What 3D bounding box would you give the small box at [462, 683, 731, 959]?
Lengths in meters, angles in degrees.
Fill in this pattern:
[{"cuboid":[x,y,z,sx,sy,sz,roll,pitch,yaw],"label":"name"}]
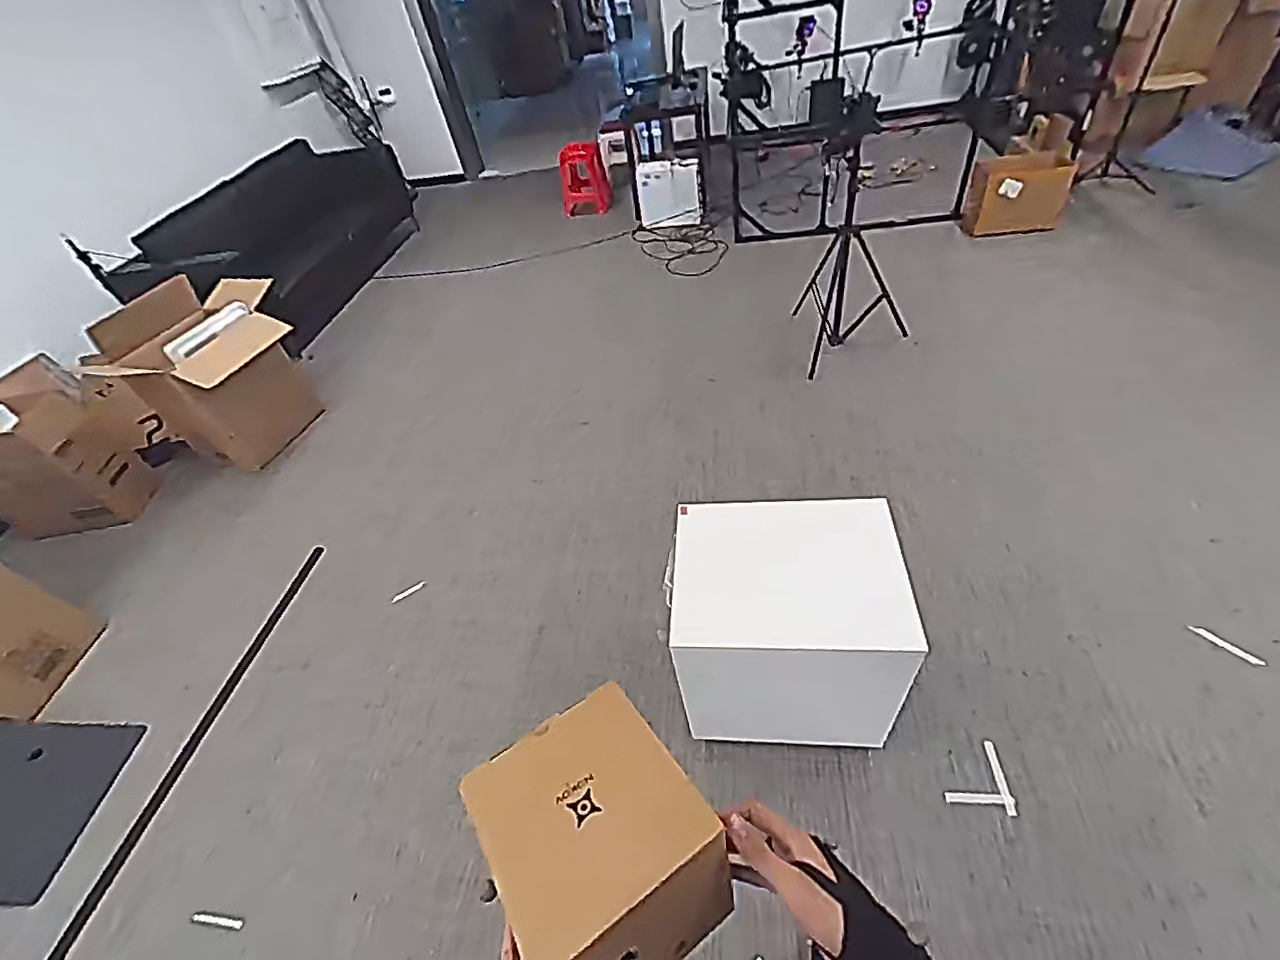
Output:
[{"cuboid":[-0.033,0.334,0.490,0.168,0.176,0.179,-26,36,-23],"label":"small box"}]
